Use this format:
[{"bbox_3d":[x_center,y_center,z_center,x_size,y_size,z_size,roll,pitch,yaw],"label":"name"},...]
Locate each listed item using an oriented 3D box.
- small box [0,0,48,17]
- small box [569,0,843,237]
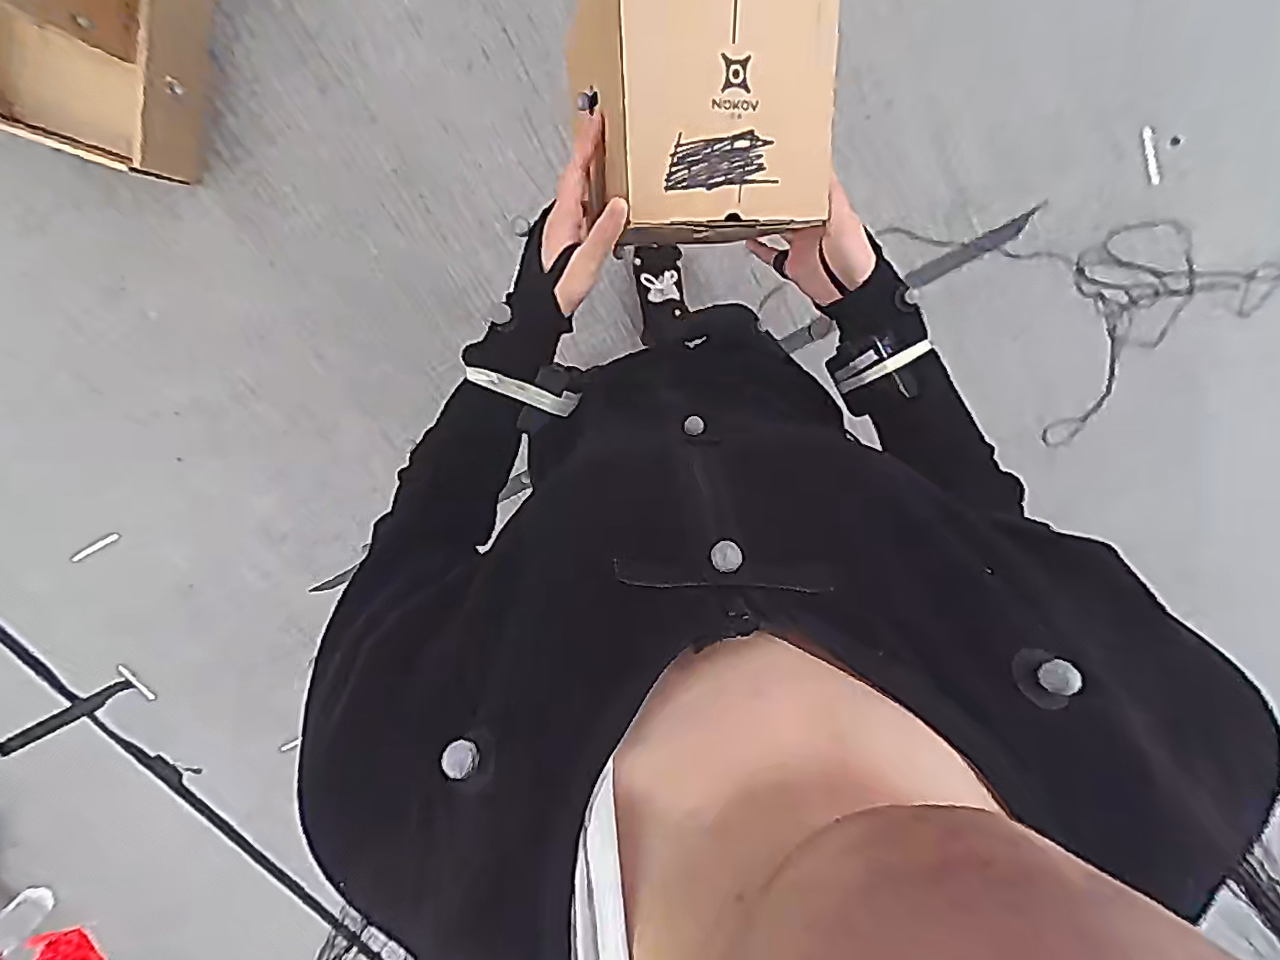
[{"bbox_3d":[-1.088,-0.884,0.849,0.179,0.176,0.168,21,105,-10],"label":"small box"},{"bbox_3d":[0.041,-0.303,0.448,0.168,0.176,0.179,-8,109,-17],"label":"small box"}]
